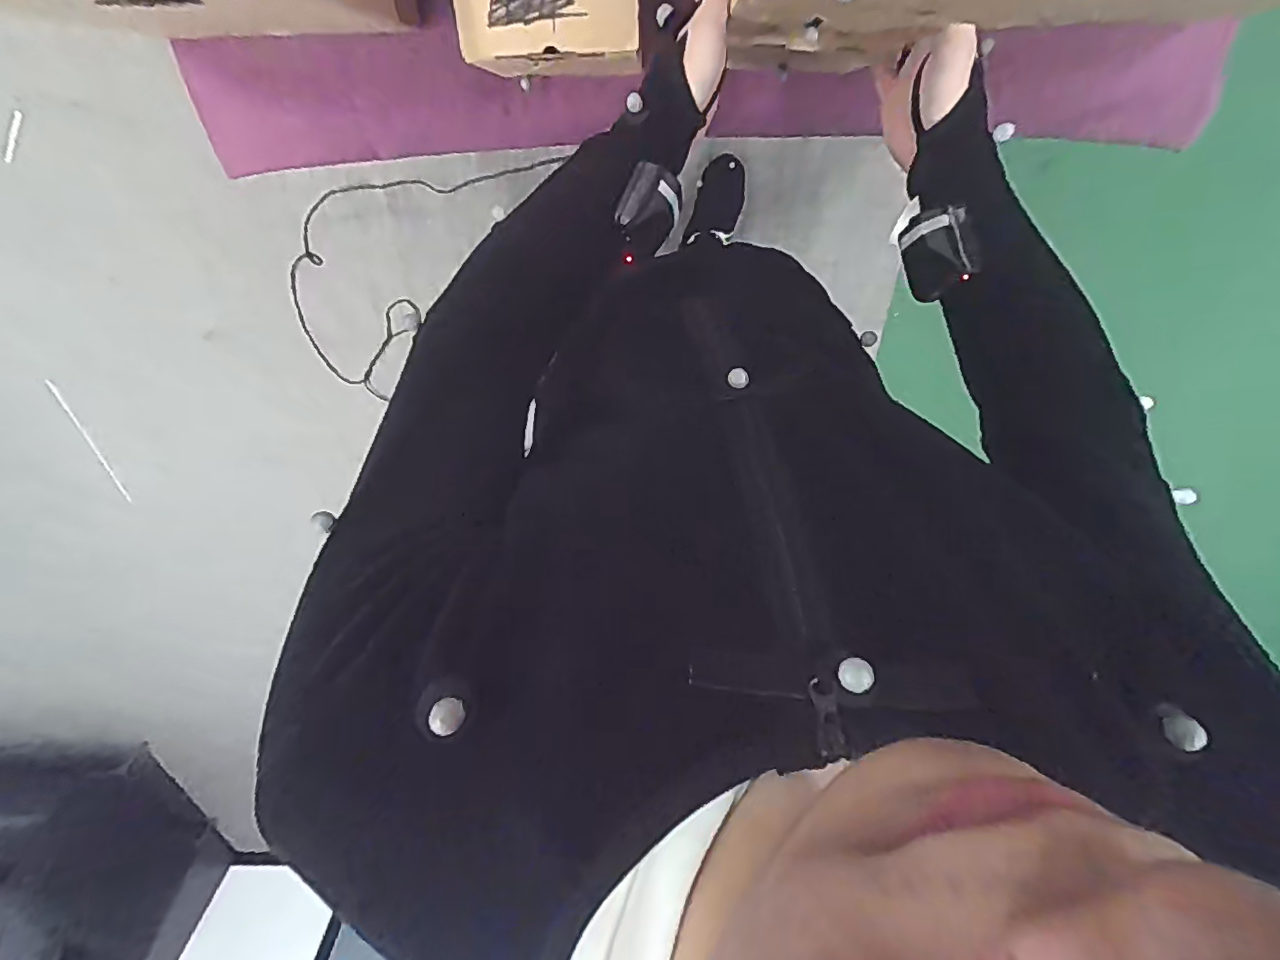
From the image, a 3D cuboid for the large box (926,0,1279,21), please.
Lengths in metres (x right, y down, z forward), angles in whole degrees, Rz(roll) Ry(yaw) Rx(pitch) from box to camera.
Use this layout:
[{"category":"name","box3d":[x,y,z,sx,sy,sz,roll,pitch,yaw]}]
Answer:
[{"category":"large box","box3d":[0.459,-0.595,0.368,0.320,0.320,0.408,0,124,2]}]
